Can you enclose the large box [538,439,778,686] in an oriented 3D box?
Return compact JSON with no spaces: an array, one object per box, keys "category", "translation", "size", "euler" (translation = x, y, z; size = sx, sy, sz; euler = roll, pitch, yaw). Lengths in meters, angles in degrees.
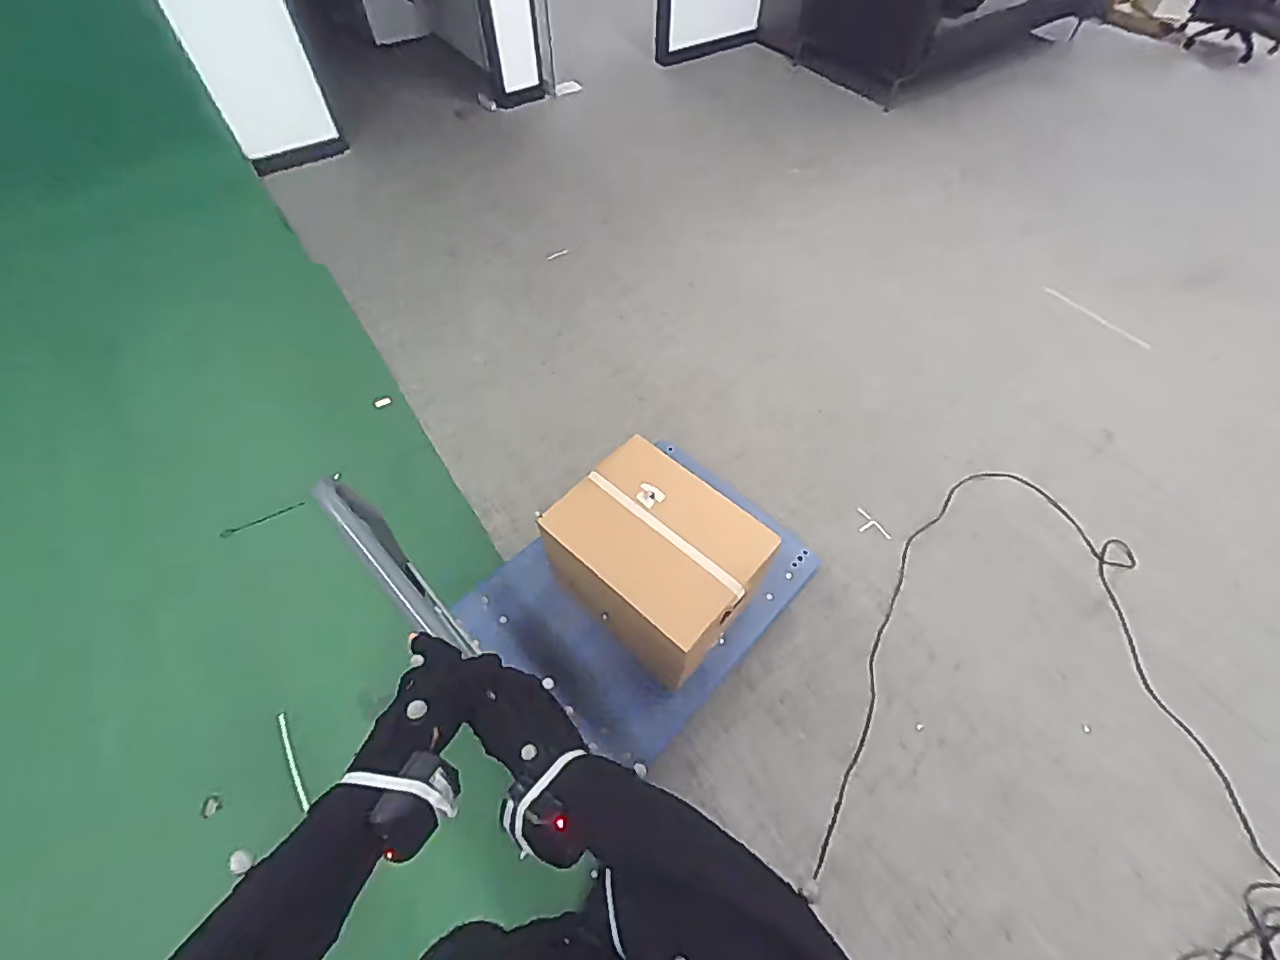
[{"category":"large box","translation":[0.036,0.188,1.228],"size":[0.408,0.320,0.320],"euler":[37,62,22]}]
